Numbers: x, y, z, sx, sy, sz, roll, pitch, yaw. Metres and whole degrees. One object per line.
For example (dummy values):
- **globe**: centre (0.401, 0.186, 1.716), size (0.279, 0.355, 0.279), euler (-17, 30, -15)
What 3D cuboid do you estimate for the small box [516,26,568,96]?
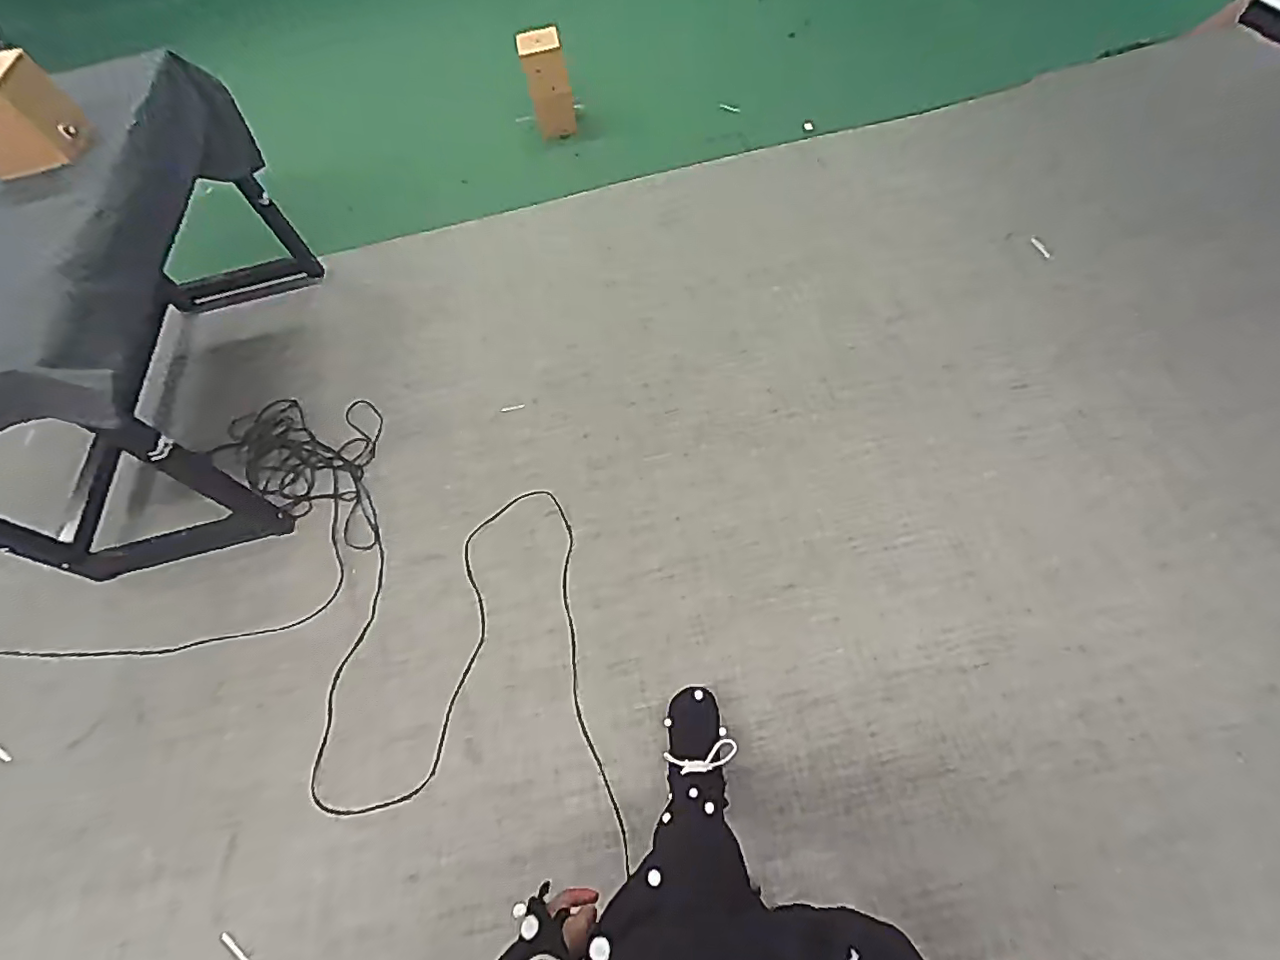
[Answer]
- **small box**: centre (-0.398, -1.705, 2.211), size (0.168, 0.176, 0.179), euler (-13, 61, 1)

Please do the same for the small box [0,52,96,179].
- **small box**: centre (-1.400, -0.808, 1.210), size (0.179, 0.176, 0.168), euler (-13, 62, 0)
